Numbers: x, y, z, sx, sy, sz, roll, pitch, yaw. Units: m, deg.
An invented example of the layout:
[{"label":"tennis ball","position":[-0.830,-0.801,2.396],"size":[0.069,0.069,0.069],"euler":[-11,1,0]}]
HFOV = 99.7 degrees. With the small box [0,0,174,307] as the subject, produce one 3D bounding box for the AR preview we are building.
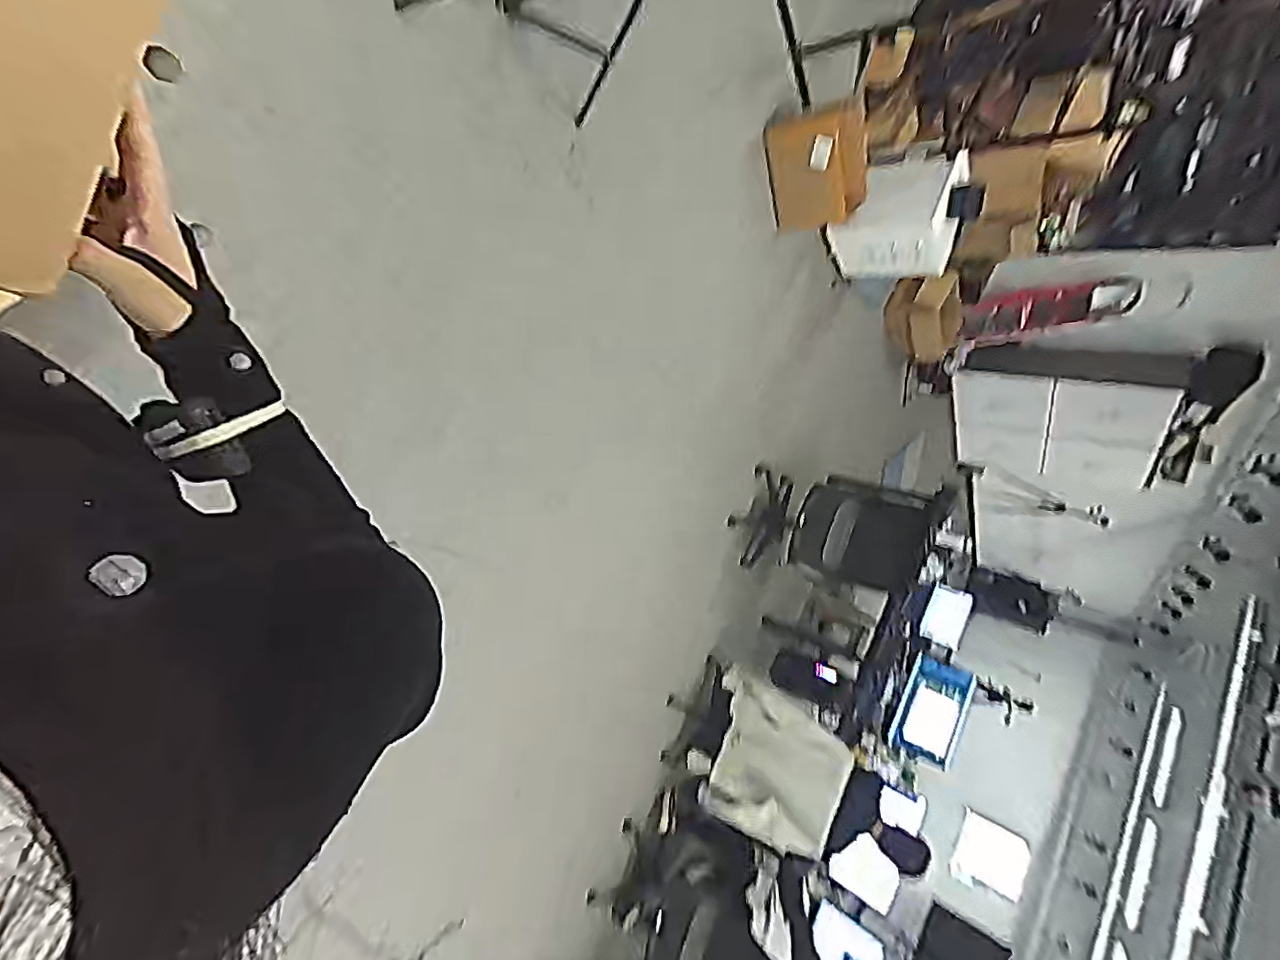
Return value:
[{"label":"small box","position":[-0.346,-0.206,0.235],"size":[0.168,0.176,0.179],"euler":[17,99,-53]}]
